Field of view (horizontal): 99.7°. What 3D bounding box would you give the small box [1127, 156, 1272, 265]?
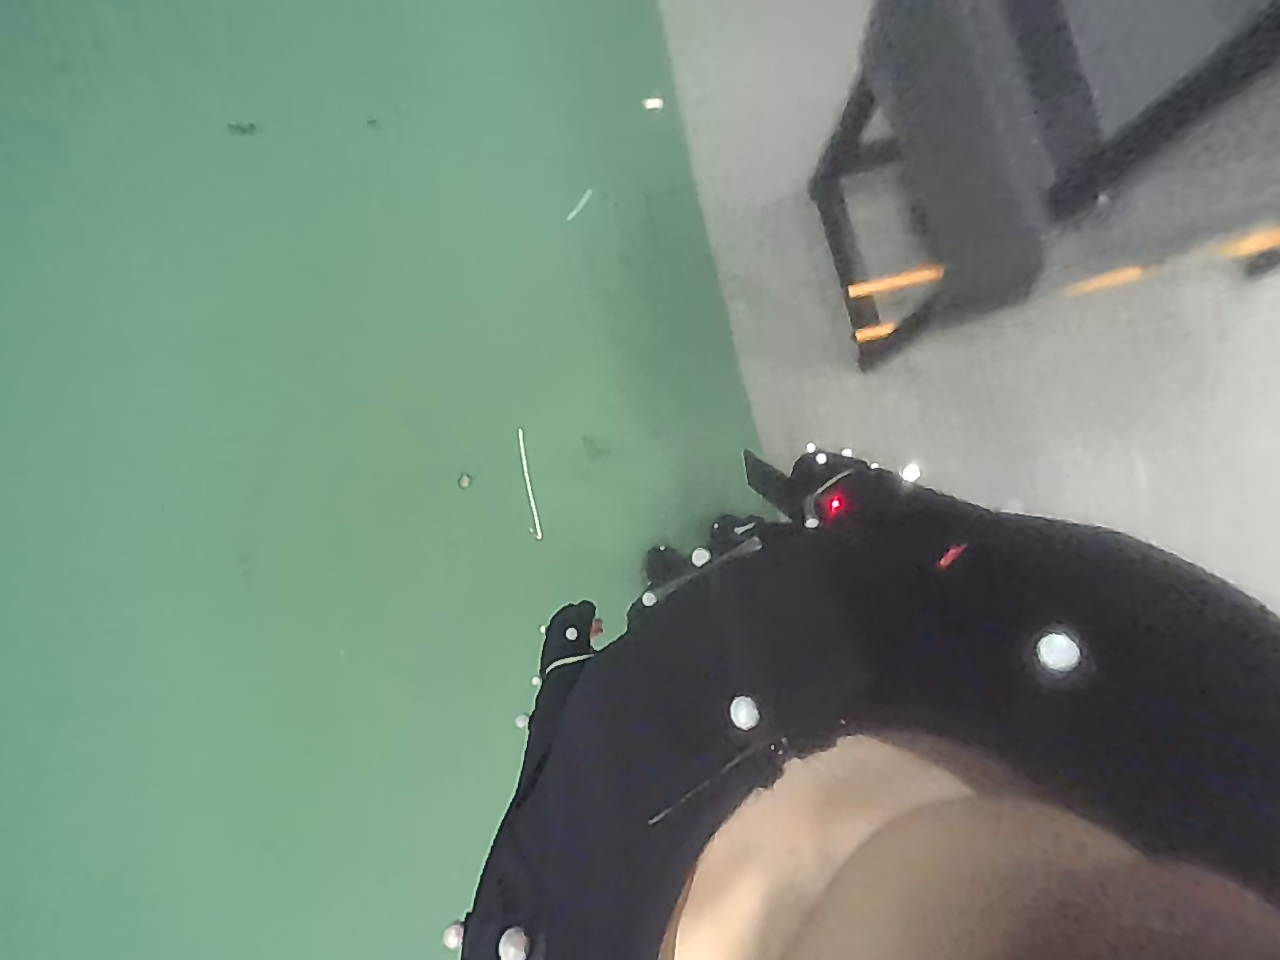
[{"bbox_3d":[1.367,-0.652,1.334,0.168,0.176,0.179,-10,86,0],"label":"small box"}]
